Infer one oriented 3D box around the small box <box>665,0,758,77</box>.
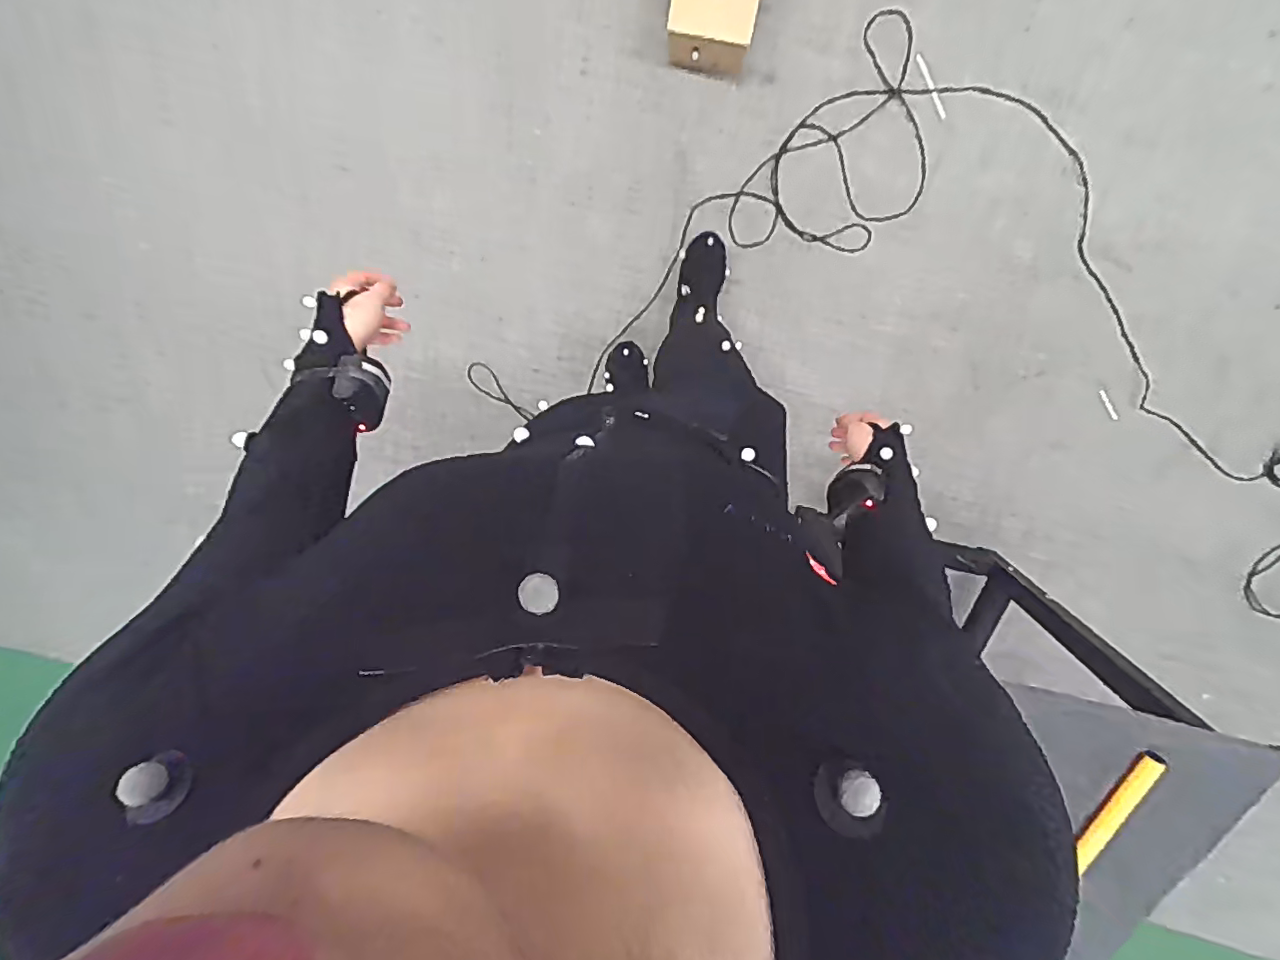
[{"bbox_3d":[0.150,-0.953,1.092,0.168,0.176,0.179,11,109,1],"label":"small box"}]
